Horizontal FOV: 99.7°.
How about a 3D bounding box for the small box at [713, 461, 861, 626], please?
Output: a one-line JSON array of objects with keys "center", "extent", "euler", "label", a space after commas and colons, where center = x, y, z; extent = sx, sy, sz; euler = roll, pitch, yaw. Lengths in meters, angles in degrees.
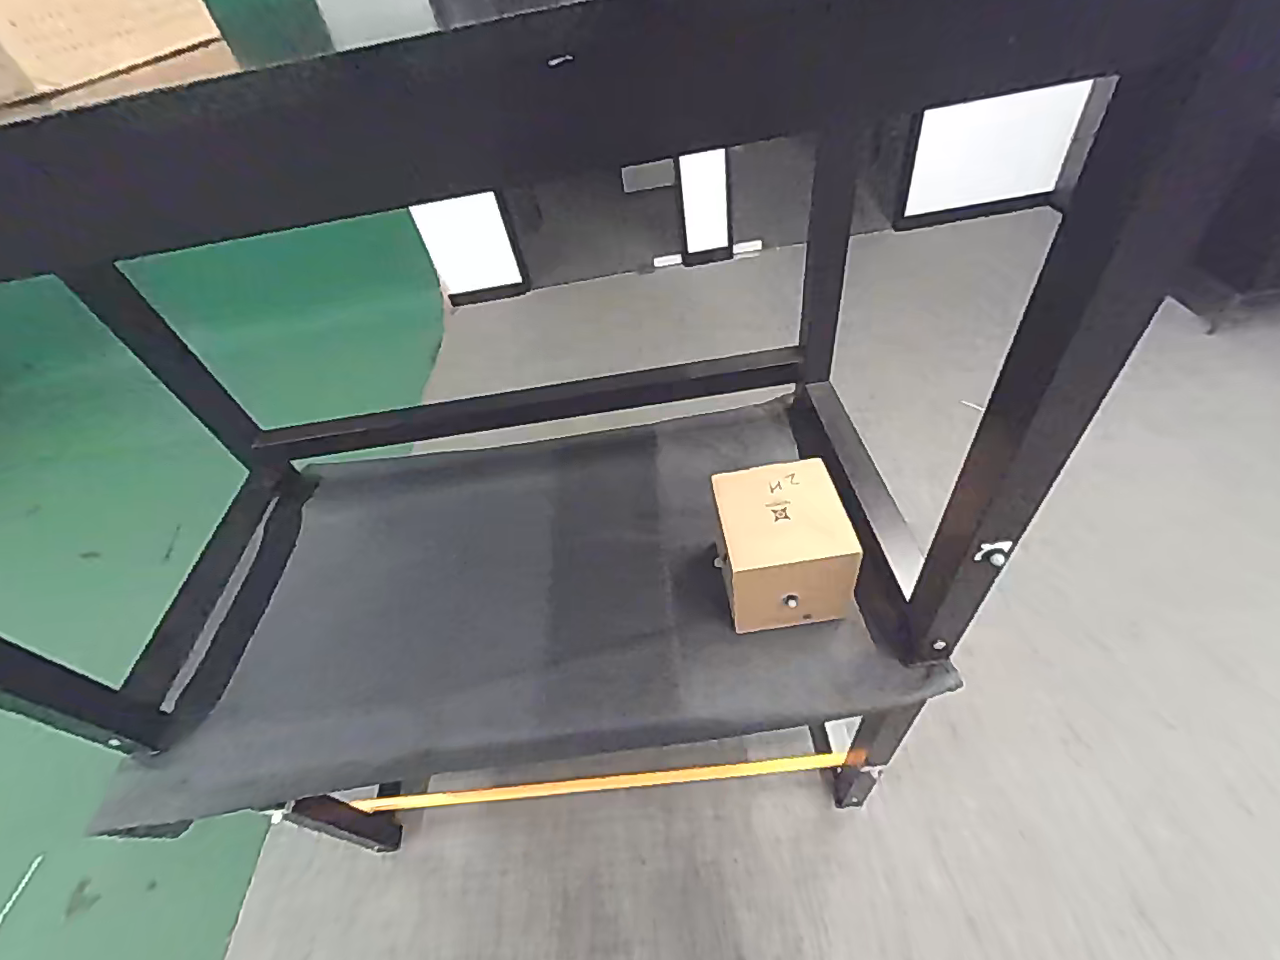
[{"center": [0.206, 0.100, 0.798], "extent": [0.168, 0.176, 0.179], "euler": [-9, 46, 3], "label": "small box"}]
